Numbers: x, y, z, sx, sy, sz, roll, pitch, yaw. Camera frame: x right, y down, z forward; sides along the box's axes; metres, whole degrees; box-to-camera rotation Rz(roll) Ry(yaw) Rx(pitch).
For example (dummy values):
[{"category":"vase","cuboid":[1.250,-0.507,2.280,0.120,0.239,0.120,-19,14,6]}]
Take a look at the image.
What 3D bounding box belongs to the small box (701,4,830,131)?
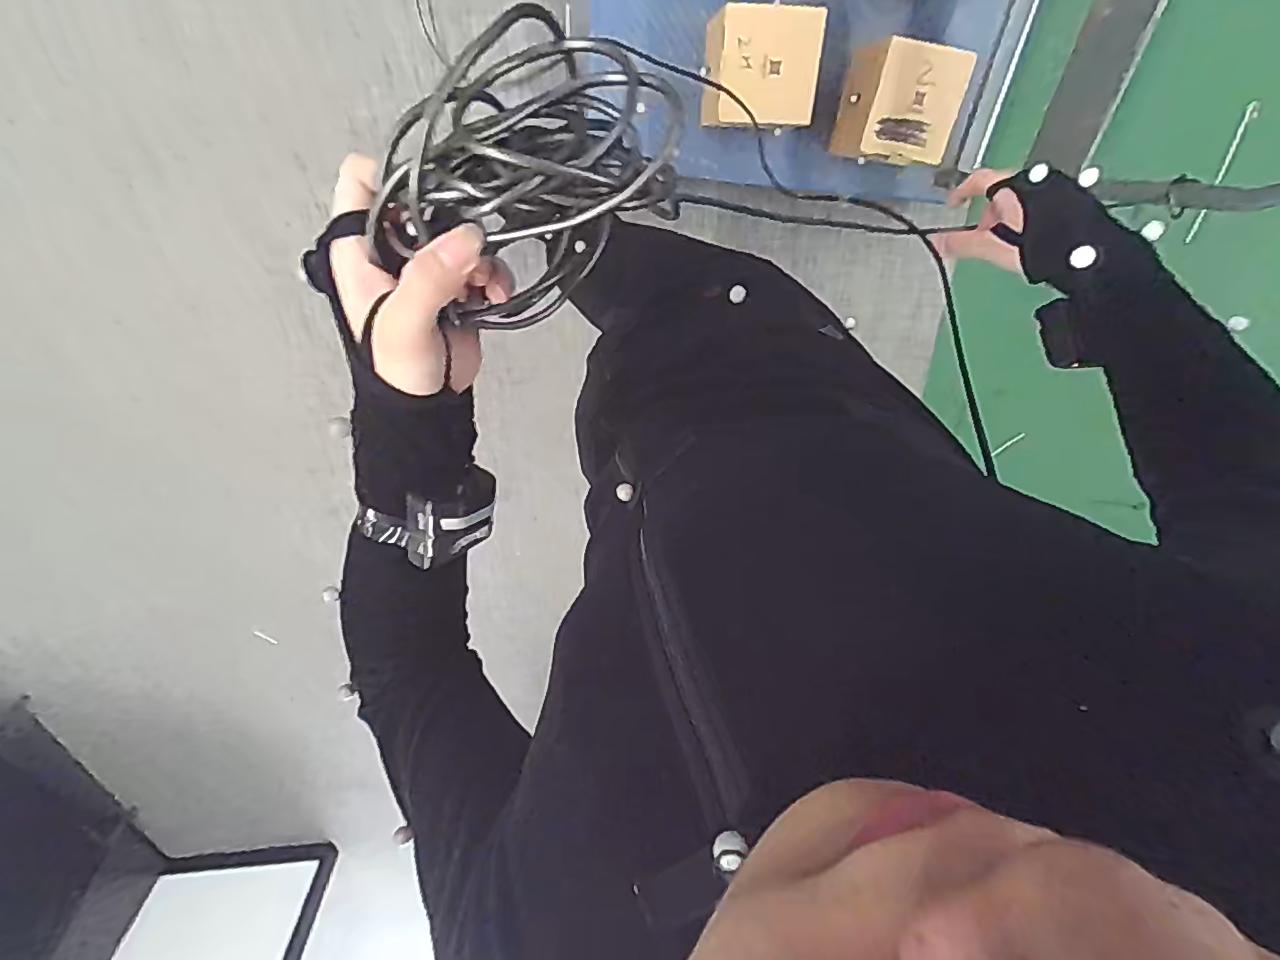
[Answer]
[{"category":"small box","cuboid":[0.221,-0.750,0.999,0.179,0.176,0.168,-1,121,-5]}]
